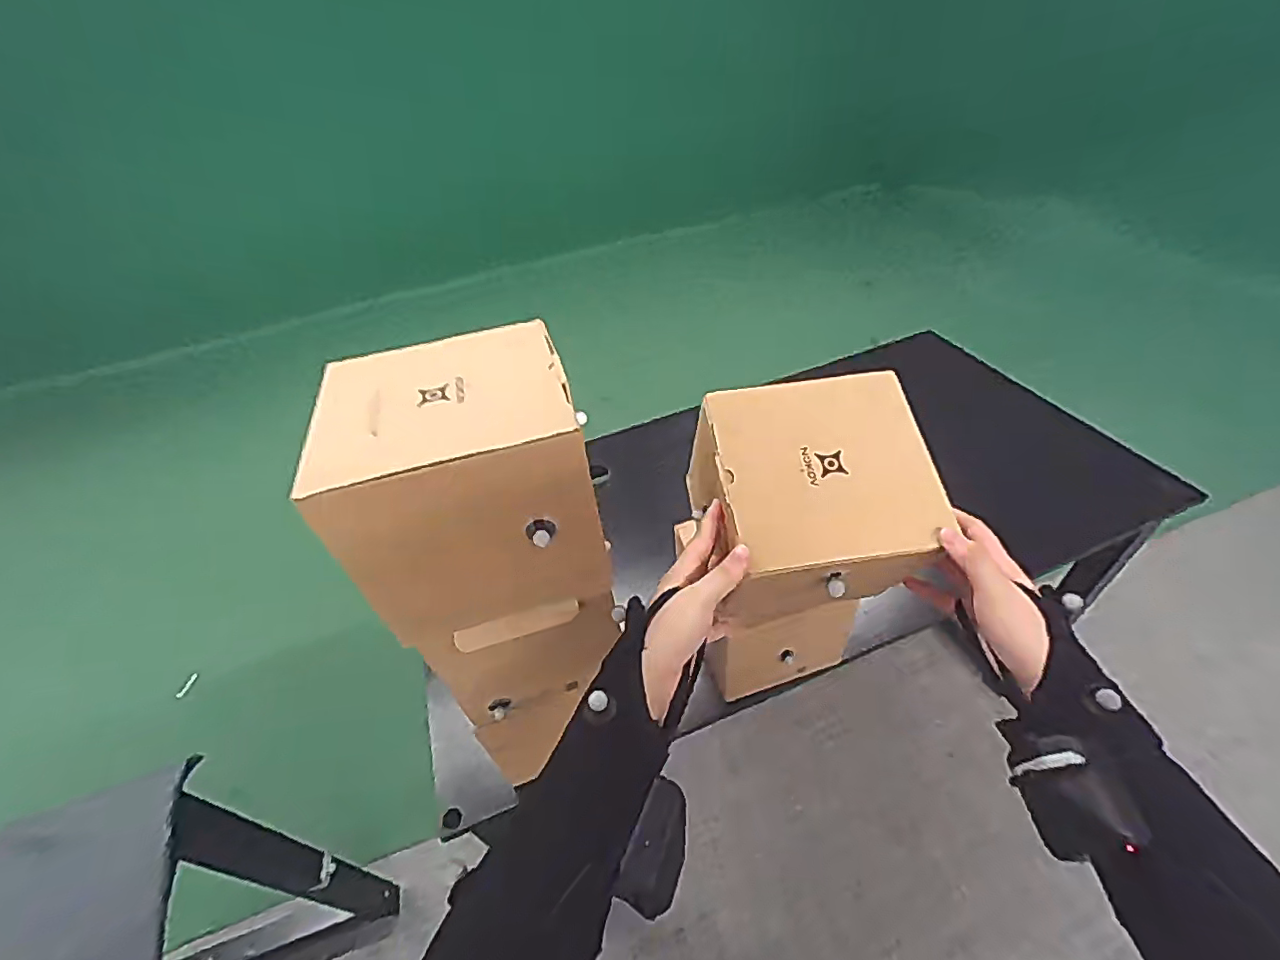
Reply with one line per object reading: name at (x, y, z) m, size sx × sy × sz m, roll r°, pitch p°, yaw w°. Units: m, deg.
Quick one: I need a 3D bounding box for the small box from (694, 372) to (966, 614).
small box at (0.157, 0.022, 0.516) m, size 0.179 × 0.176 × 0.168 m, roll -9°, pitch 65°, yaw -3°

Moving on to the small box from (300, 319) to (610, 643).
small box at (-0.127, 0.000, 0.433) m, size 0.179 × 0.176 × 0.168 m, roll -16°, pitch 43°, yaw -8°

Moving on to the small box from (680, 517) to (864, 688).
small box at (0.160, 0.148, 0.707) m, size 0.168 × 0.176 × 0.179 m, roll -16°, pitch 45°, yaw -8°

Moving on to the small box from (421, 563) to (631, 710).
small box at (-0.114, 0.110, 0.552) m, size 0.168 × 0.176 × 0.179 m, roll -16°, pitch 44°, yaw -9°
